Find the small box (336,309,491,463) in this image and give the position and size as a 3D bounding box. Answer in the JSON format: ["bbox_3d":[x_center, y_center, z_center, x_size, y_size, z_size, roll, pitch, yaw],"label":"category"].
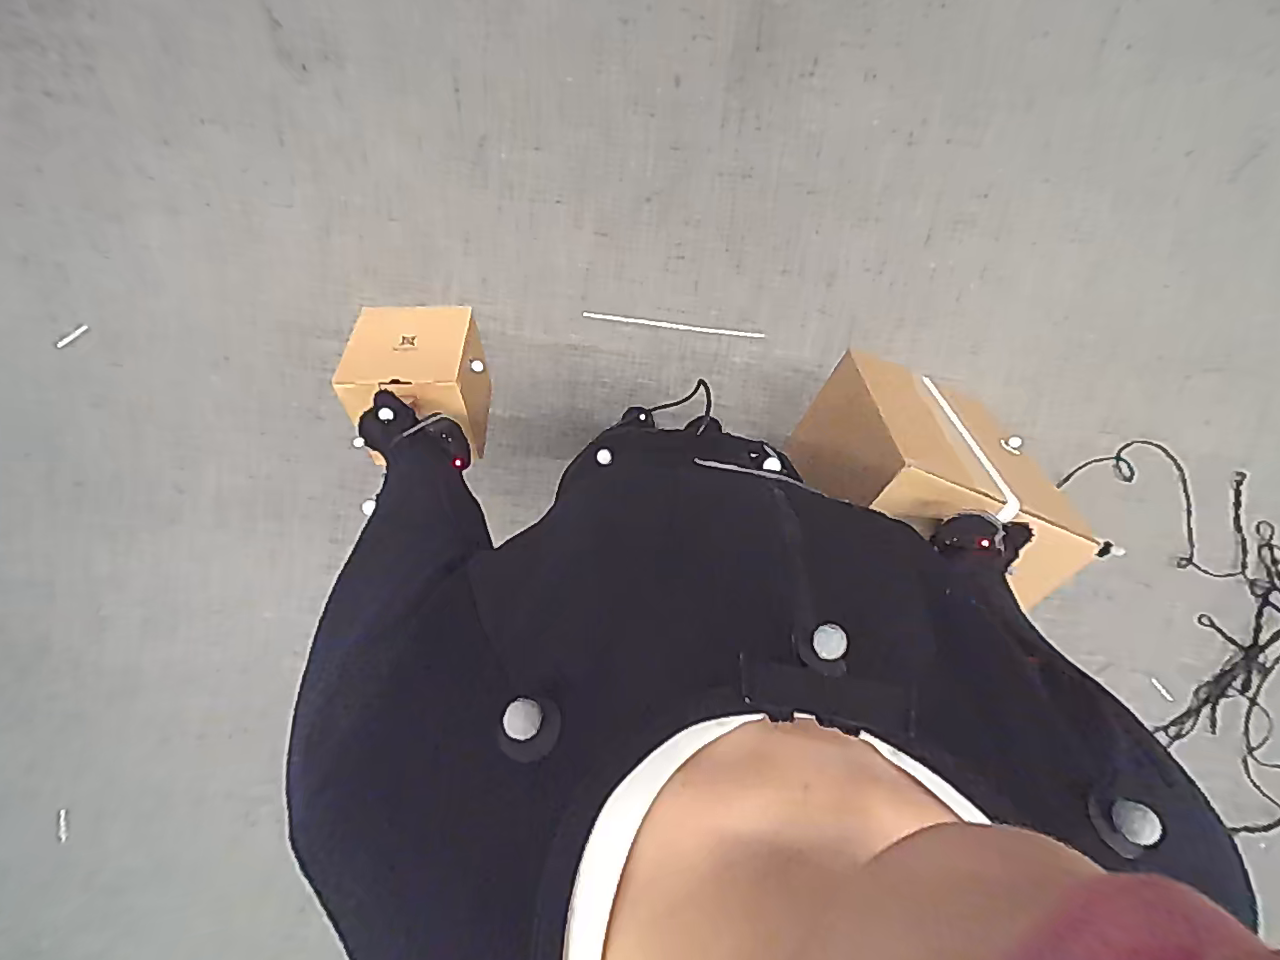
[{"bbox_3d":[-0.336,-0.146,0.844,0.168,0.179,0.176,-3,142,-3],"label":"small box"}]
